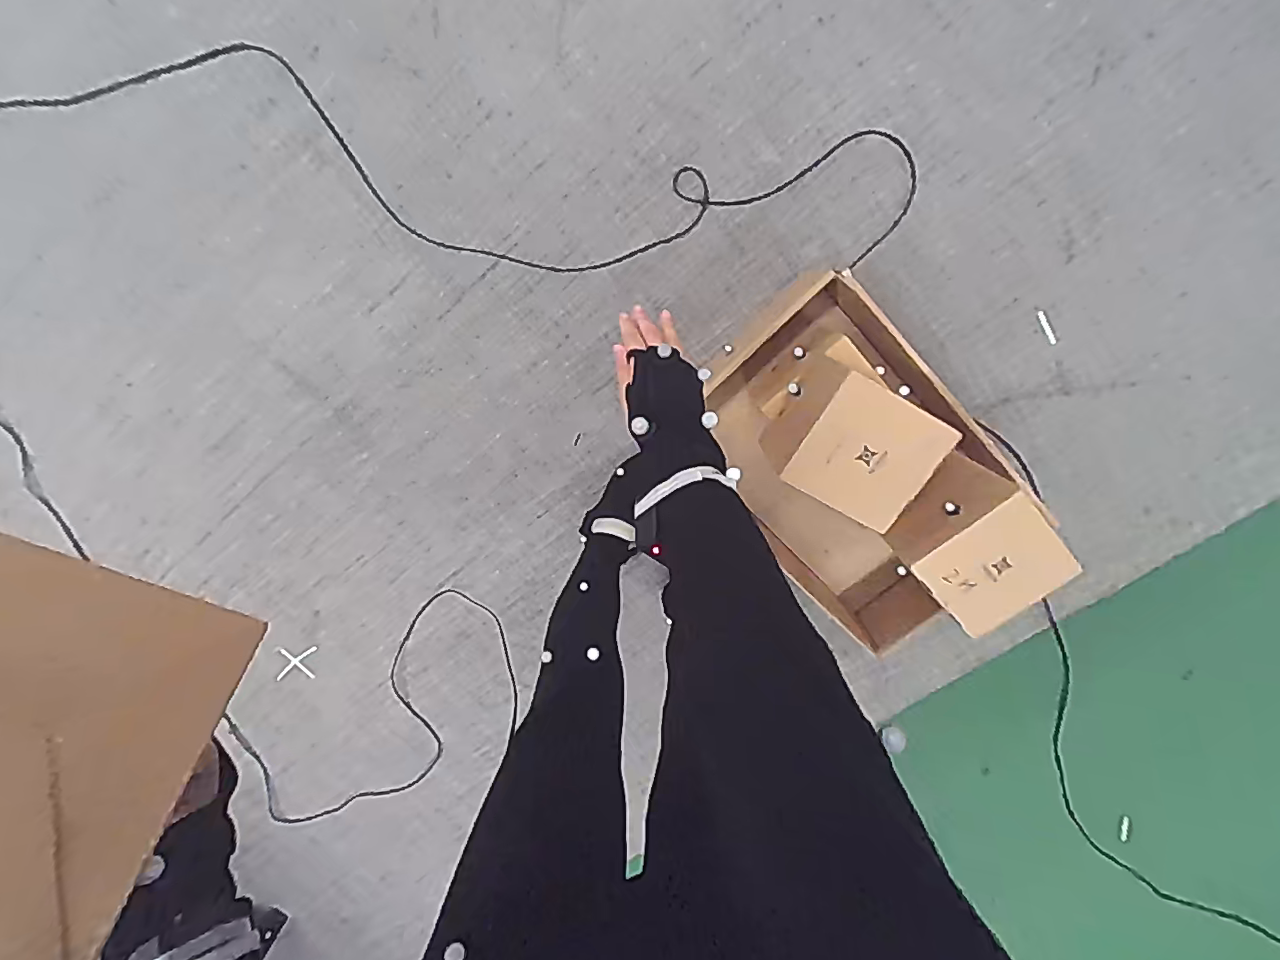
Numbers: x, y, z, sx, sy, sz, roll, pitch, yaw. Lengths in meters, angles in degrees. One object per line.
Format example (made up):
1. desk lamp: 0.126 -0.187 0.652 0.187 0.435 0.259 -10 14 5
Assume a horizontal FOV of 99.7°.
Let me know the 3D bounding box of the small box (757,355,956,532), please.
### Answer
1. small box: 0.292 -0.061 0.773 0.179 0.176 0.168 28 110 -9

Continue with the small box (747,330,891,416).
1. small box: 0.304 -0.136 0.918 0.168 0.176 0.179 -41 105 17

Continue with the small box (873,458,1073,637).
1. small box: 0.484 0.093 0.821 0.179 0.176 0.168 -40 104 15
